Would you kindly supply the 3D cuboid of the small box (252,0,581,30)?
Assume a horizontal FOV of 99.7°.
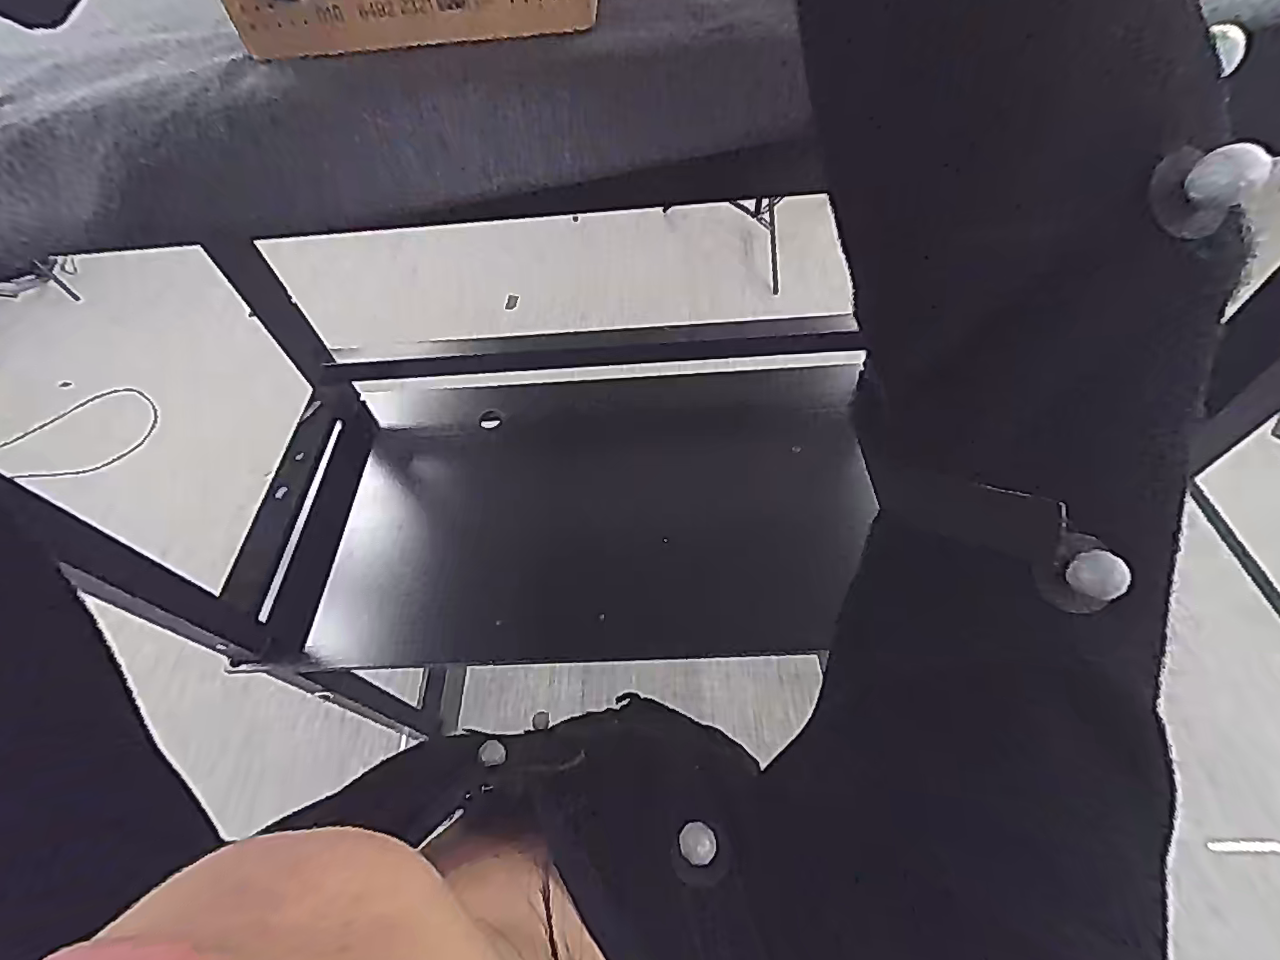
[{"bbox_3d":[-0.107,-0.320,0.232,0.168,0.176,0.179,-2,54,3],"label":"small box"}]
